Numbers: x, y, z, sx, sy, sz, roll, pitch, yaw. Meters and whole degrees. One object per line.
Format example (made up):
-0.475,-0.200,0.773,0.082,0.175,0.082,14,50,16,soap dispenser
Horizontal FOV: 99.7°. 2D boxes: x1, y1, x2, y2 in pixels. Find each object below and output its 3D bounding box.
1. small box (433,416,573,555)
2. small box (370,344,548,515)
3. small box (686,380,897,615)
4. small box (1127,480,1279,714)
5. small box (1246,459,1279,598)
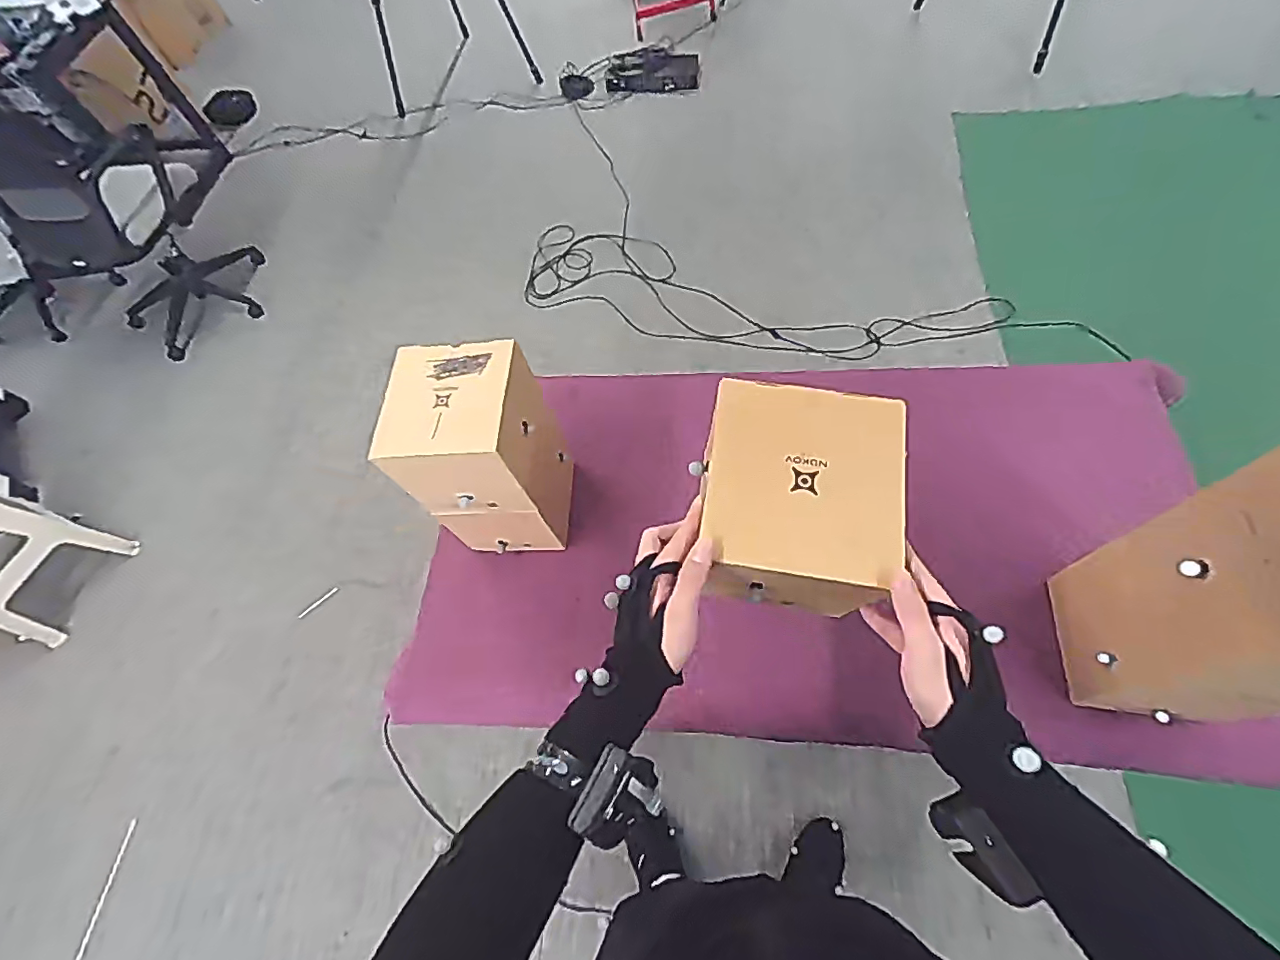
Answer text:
-0.213,0.013,0.897,0.168,0.176,0.179,-2,63,8,small box
-0.234,-0.064,0.753,0.168,0.176,0.179,-2,62,8,small box
0.138,0.028,0.533,0.168,0.176,0.179,8,69,6,small box
0.630,0.120,0.525,0.168,0.176,0.179,4,62,12,small box
0.609,0.041,0.382,0.168,0.176,0.179,5,63,12,small box
